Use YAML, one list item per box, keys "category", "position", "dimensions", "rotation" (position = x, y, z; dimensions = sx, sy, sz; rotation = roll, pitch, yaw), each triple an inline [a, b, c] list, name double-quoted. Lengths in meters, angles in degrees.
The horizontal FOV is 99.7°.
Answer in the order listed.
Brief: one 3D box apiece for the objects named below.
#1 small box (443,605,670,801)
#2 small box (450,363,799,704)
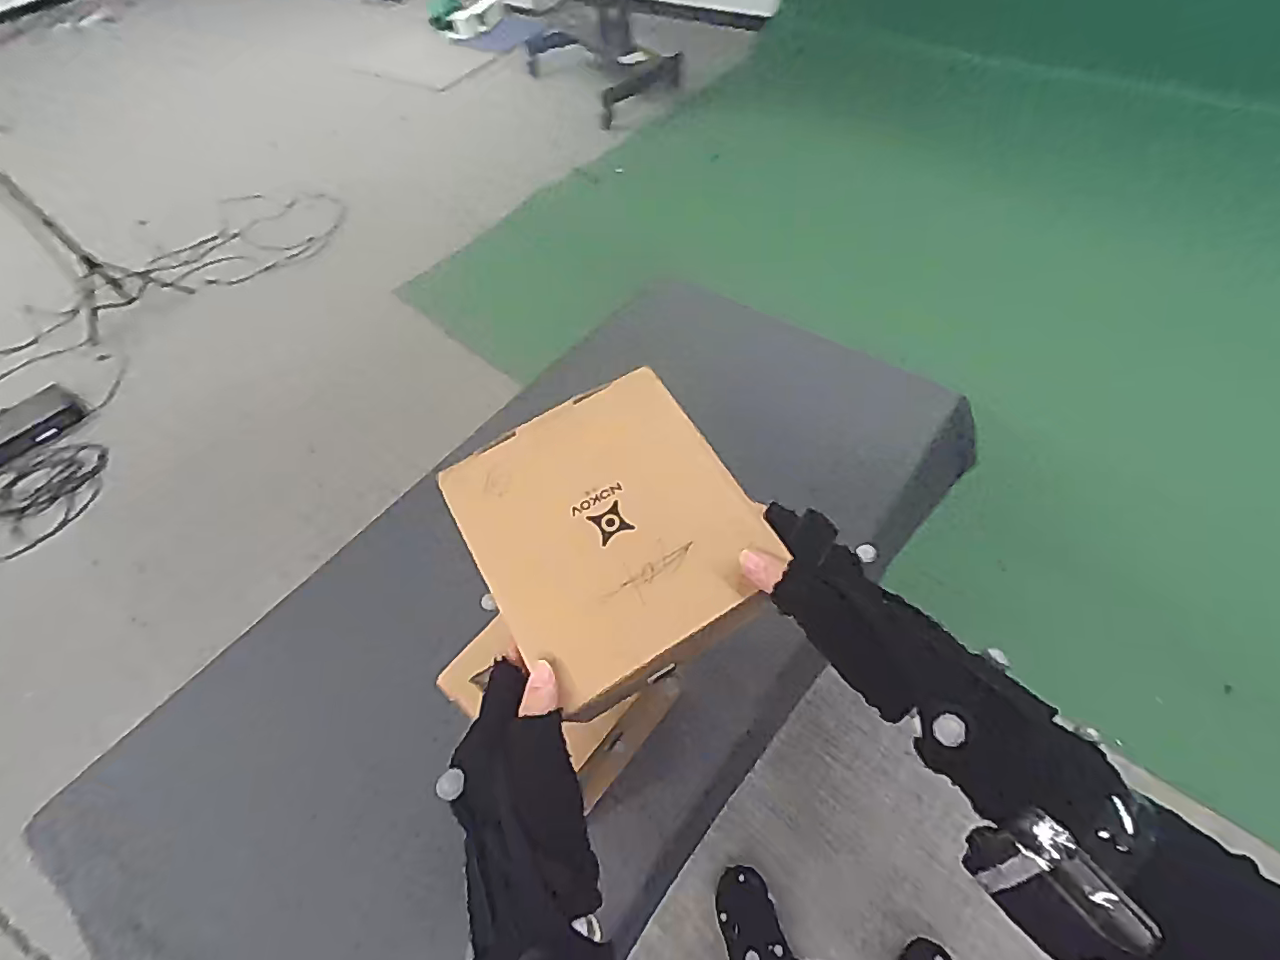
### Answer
- category: "small box"
  position: [-0.076, 0.228, 0.606]
  dimensions: [0.168, 0.176, 0.179]
  rotation: [34, 66, 24]
- category: "small box"
  position: [-0.014, 0.052, 0.413]
  dimensions: [0.168, 0.176, 0.179]
  rotation: [-28, 69, -10]
